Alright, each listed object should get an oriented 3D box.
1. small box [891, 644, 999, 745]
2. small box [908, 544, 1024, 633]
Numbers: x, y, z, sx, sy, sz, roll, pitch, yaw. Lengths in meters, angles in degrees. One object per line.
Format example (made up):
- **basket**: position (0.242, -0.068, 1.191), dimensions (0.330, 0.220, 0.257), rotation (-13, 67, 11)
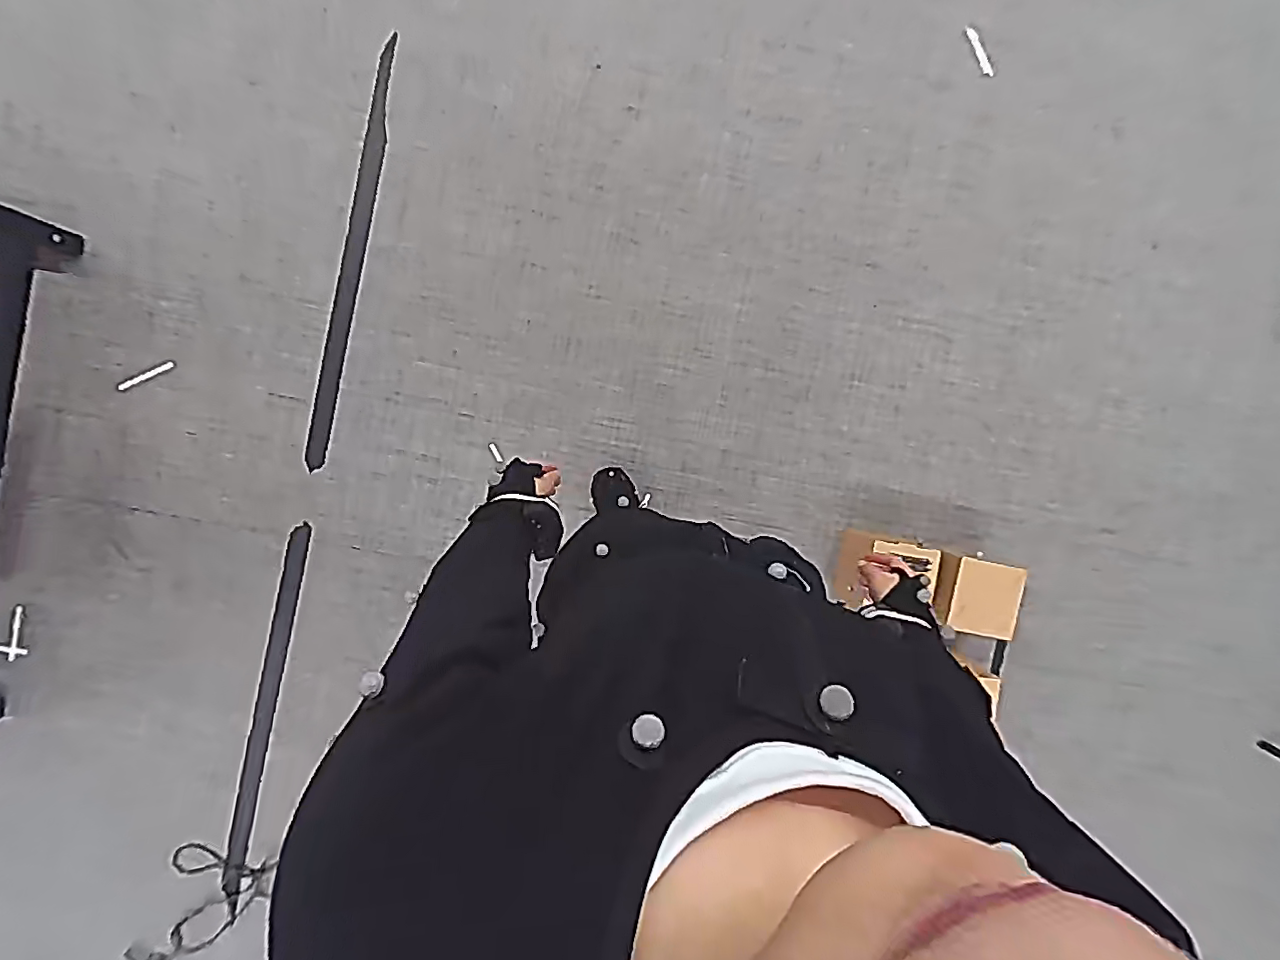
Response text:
- **small box**: position (0.762, 0.537, 1.370), dimensions (0.168, 0.176, 0.179), rotation (7, 92, -4)
- **small box**: position (0.810, 0.271, 1.352), dimensions (0.168, 0.176, 0.179), rotation (12, 93, -4)
